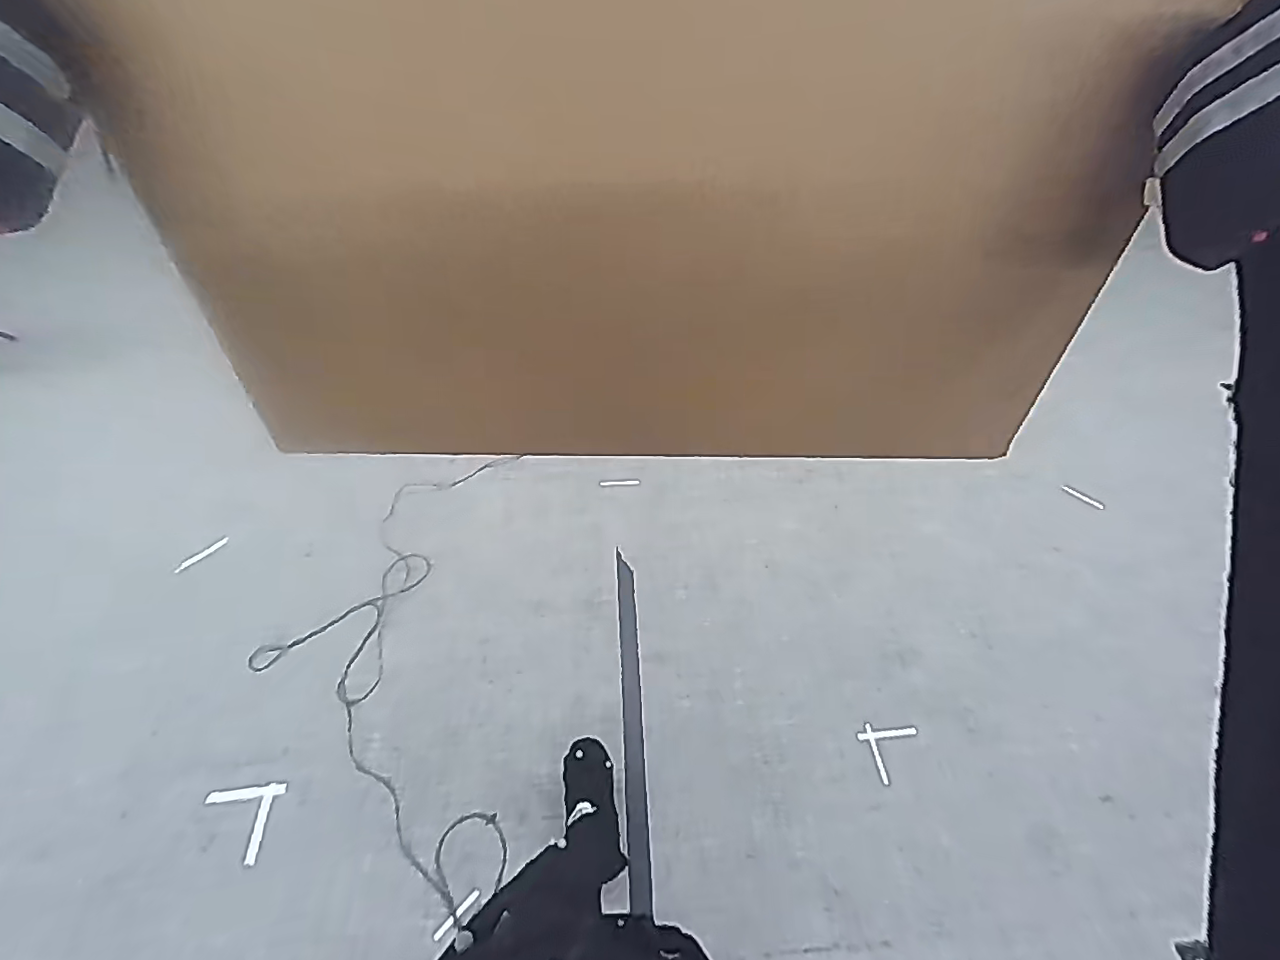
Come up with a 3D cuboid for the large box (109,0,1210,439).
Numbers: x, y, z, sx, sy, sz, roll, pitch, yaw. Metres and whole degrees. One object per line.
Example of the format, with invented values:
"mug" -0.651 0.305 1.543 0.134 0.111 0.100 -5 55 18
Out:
"large box" 0.005 -0.233 0.331 0.408 0.320 0.320 1 42 -1
